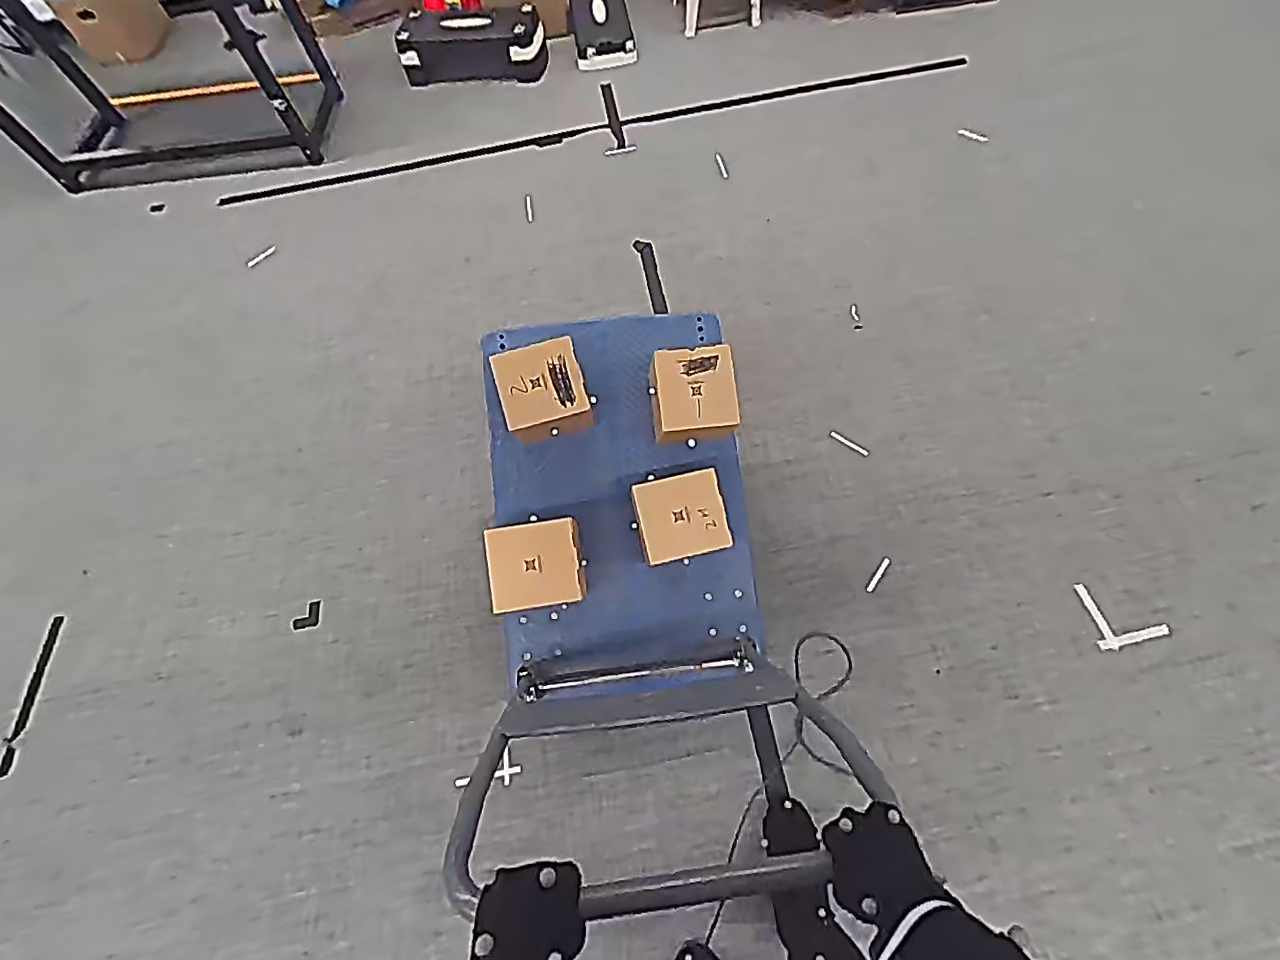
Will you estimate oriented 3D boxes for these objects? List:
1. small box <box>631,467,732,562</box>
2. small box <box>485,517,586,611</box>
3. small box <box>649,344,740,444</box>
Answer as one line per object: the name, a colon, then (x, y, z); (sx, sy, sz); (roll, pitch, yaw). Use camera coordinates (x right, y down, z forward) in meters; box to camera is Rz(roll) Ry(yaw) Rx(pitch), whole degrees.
small box: (0.082, 0.080, 1.167); (0.179, 0.176, 0.168); (-13, 84, -4)
small box: (-0.214, 0.176, 1.144); (0.179, 0.176, 0.168); (-9, 83, -5)
small box: (0.114, -0.185, 1.202); (0.168, 0.176, 0.179); (-6, 84, -3)
